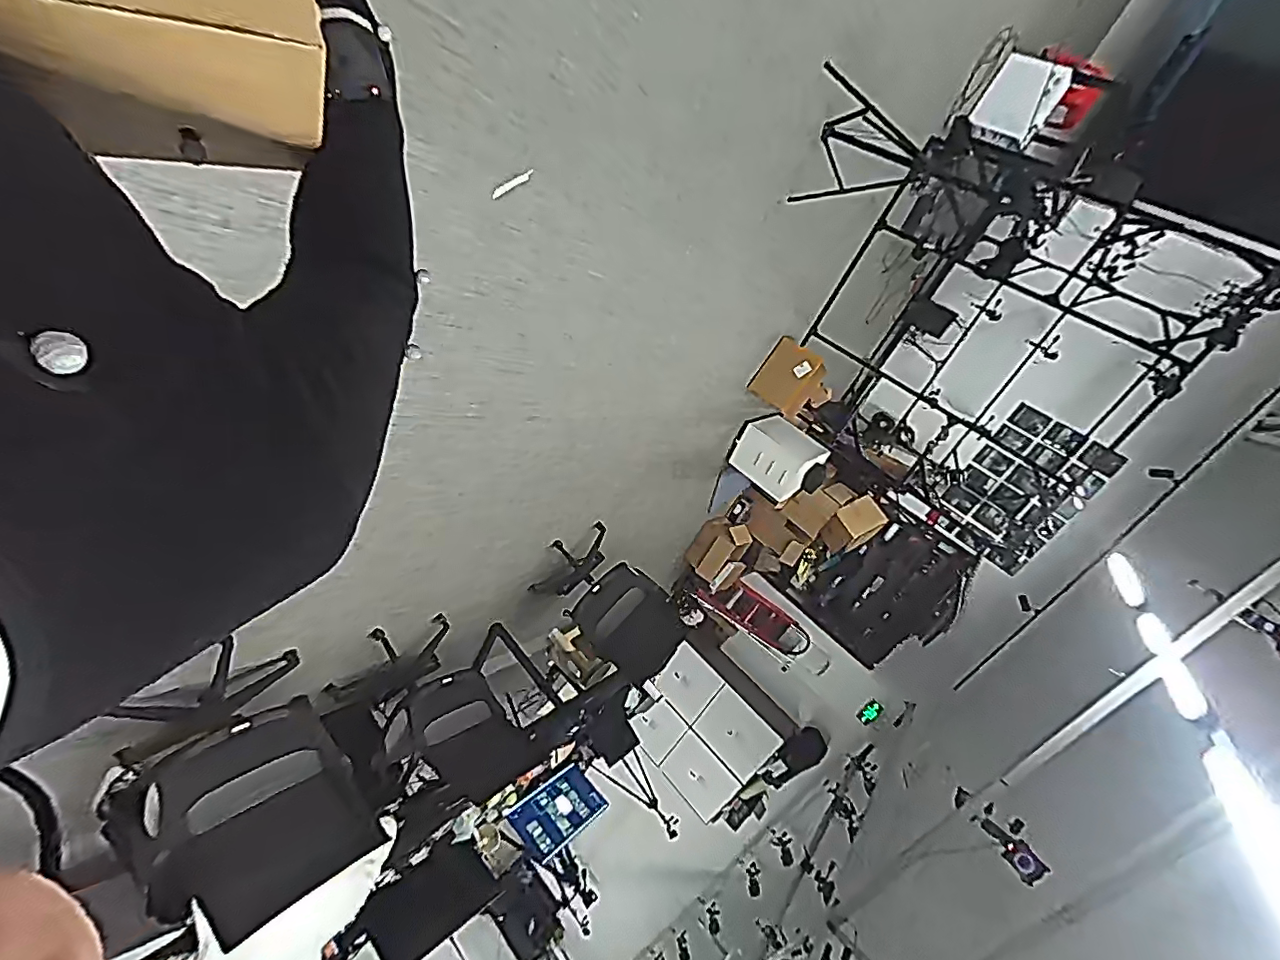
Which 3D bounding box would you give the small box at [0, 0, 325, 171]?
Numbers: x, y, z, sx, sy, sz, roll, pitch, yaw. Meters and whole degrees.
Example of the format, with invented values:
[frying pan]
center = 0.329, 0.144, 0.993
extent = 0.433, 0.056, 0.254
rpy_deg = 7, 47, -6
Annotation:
[small box]
center = -0.330, -0.333, 0.362
extent = 0.179, 0.176, 0.168
rpy_deg = -14, 98, -31
